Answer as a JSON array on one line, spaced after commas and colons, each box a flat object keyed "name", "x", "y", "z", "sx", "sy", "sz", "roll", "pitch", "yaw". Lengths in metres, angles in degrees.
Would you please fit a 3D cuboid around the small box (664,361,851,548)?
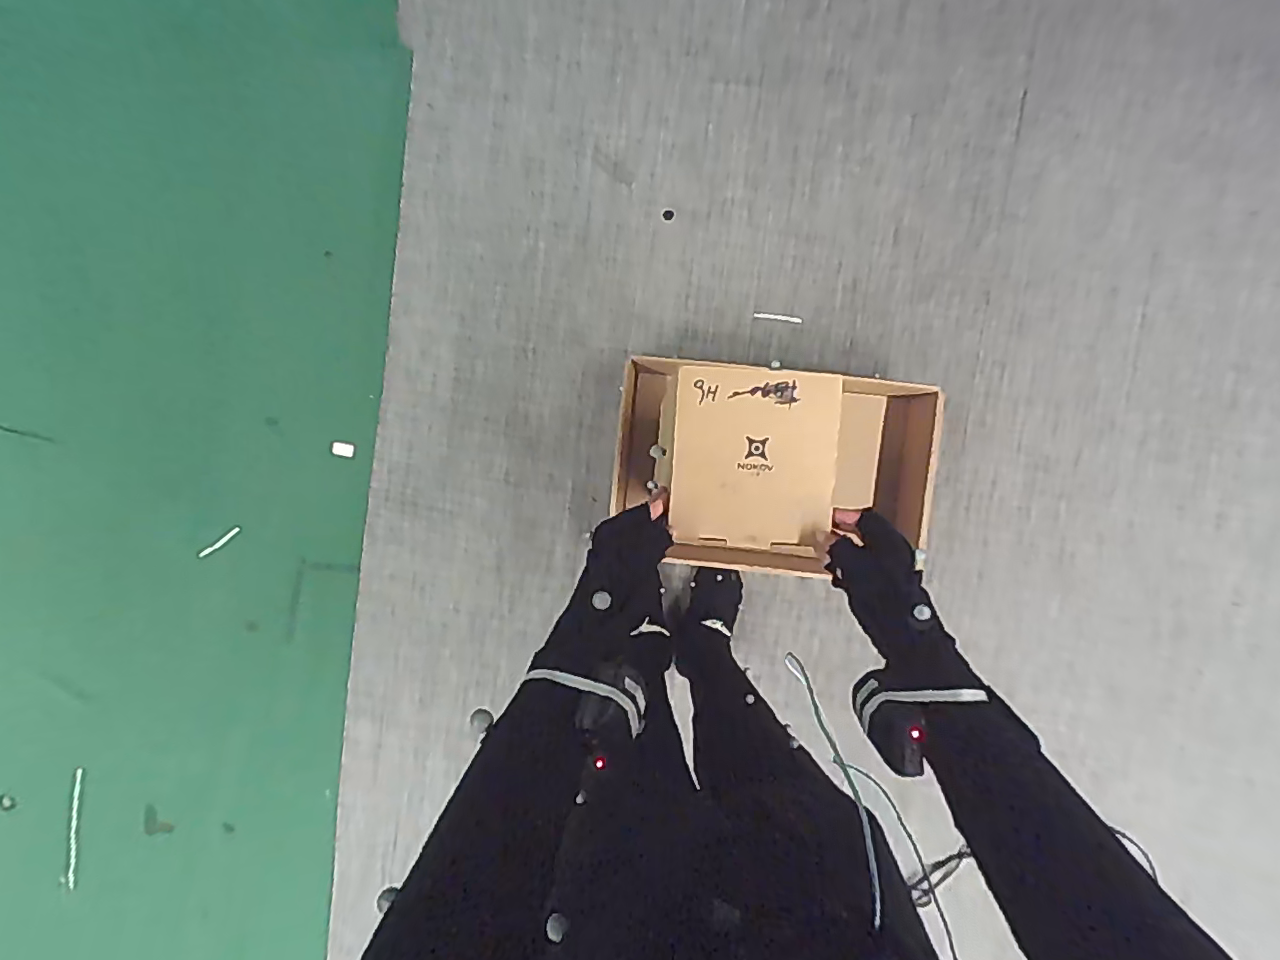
[{"name": "small box", "x": 0.117, "y": -0.031, "z": 0.609, "sx": 0.168, "sy": 0.176, "sz": 0.179, "roll": 4, "pitch": 94, "yaw": -1}]
